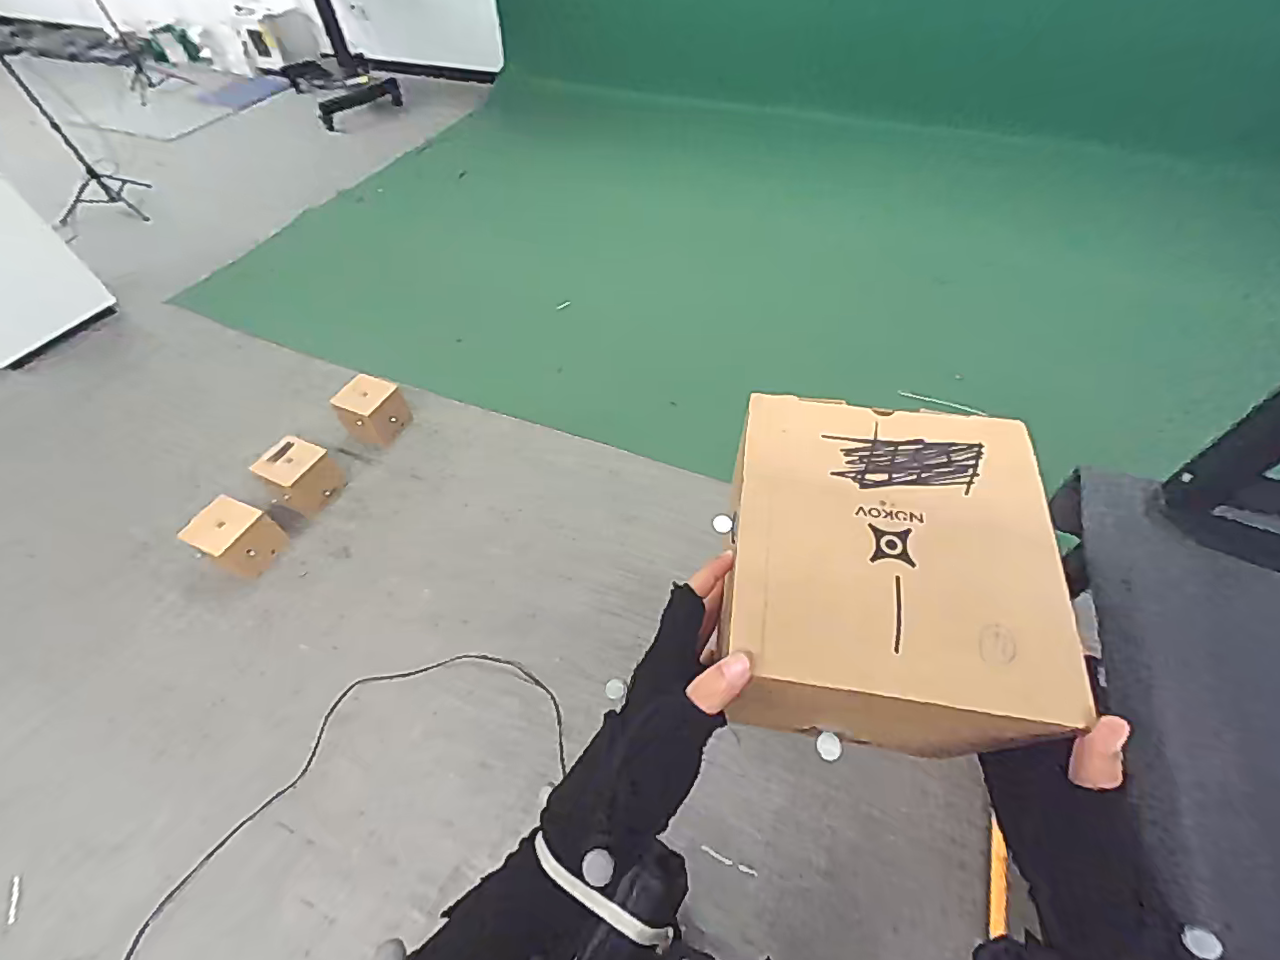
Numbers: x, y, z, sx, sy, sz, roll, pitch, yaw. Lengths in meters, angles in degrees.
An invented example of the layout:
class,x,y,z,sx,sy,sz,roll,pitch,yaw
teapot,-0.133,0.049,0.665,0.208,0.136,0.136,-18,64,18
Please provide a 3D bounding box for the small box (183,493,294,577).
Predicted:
class,x,y,z,sx,sy,sz,roll,pitch,yaw
small box,-1.204,0.171,1.637,0.179,0.176,0.168,18,55,15

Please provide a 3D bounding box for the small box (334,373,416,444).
class,x,y,z,sx,sy,sz,roll,pitch,yaw
small box,-0.950,-0.254,1.958,0.179,0.176,0.168,19,54,15
